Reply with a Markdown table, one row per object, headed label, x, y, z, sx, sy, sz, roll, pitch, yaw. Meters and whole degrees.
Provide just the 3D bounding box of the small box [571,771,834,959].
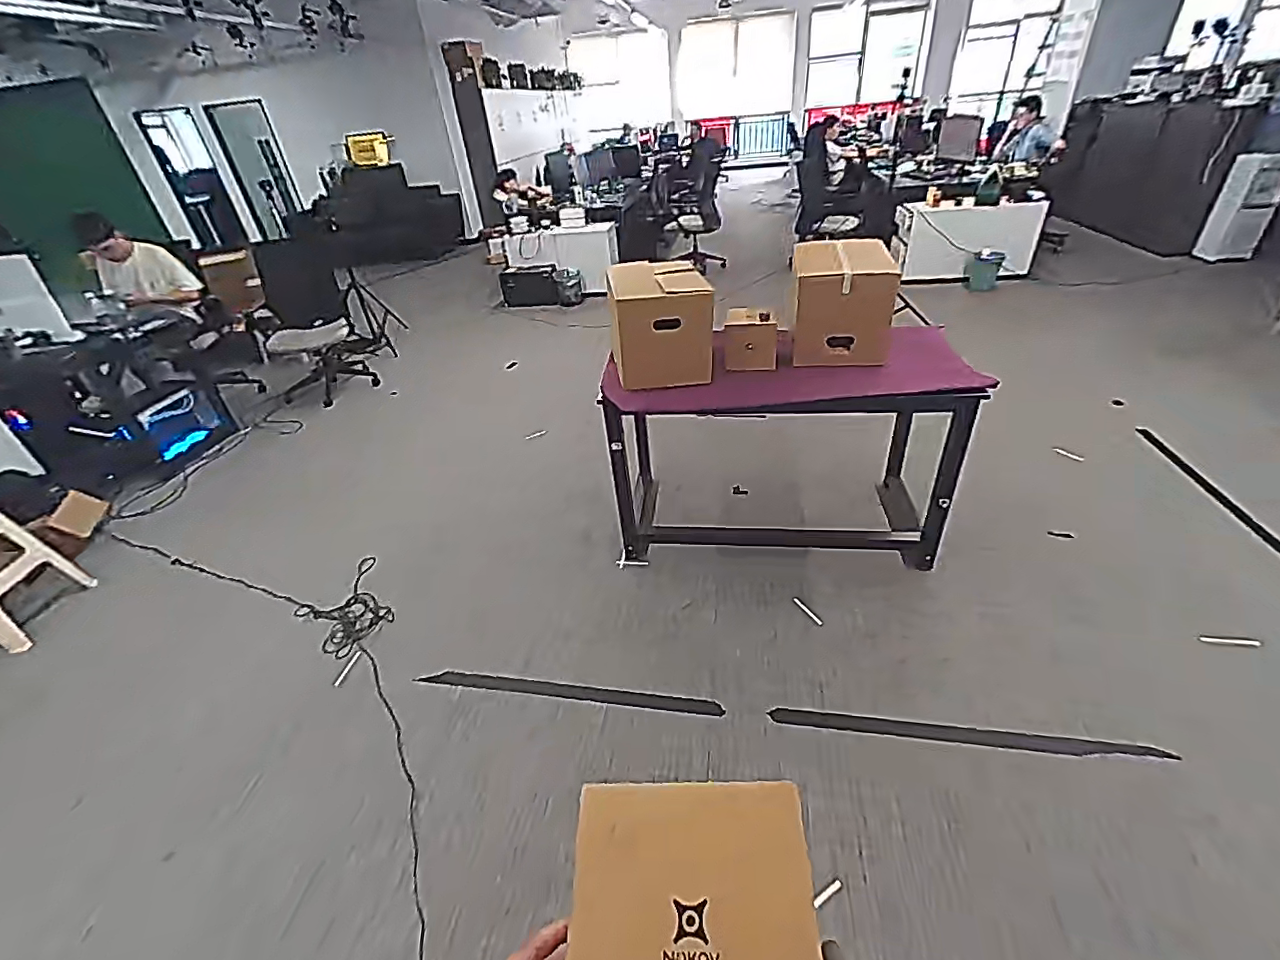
| label | x | y | z | sx | sy | sz | roll | pitch | yaw |
| --- | --- | --- | --- | --- | --- | --- | --- | --- | --- |
| small box | 0.047 | 0.339 | 0.405 | 0.168 | 0.176 | 0.179 | -4 | 46 | 7 |
